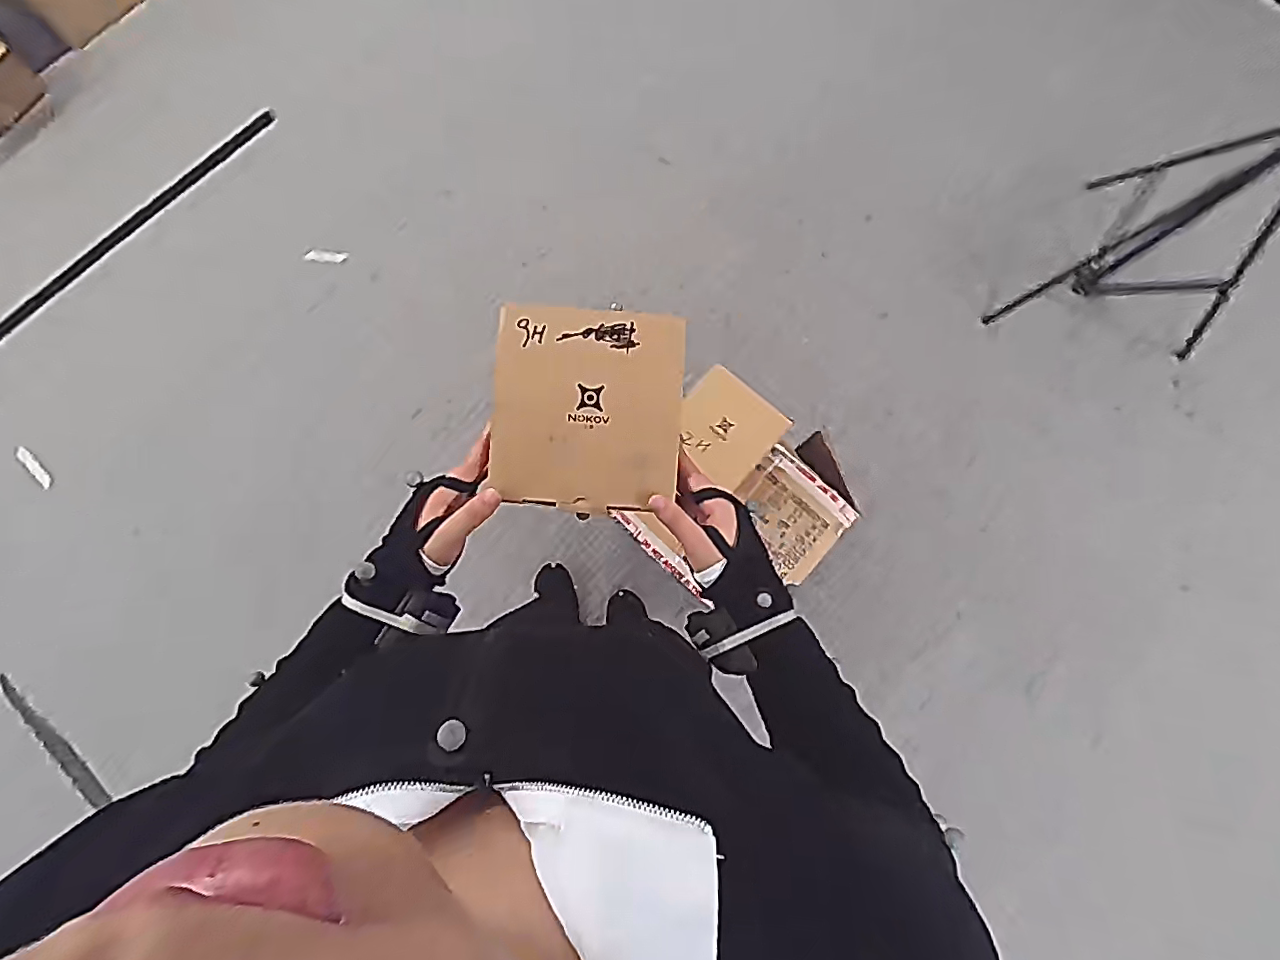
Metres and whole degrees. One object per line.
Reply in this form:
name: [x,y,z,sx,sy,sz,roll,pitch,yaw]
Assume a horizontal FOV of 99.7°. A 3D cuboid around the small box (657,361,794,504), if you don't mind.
small box: [0.145,-0.077,0.982,0.168,0.176,0.179,41,85,9]
